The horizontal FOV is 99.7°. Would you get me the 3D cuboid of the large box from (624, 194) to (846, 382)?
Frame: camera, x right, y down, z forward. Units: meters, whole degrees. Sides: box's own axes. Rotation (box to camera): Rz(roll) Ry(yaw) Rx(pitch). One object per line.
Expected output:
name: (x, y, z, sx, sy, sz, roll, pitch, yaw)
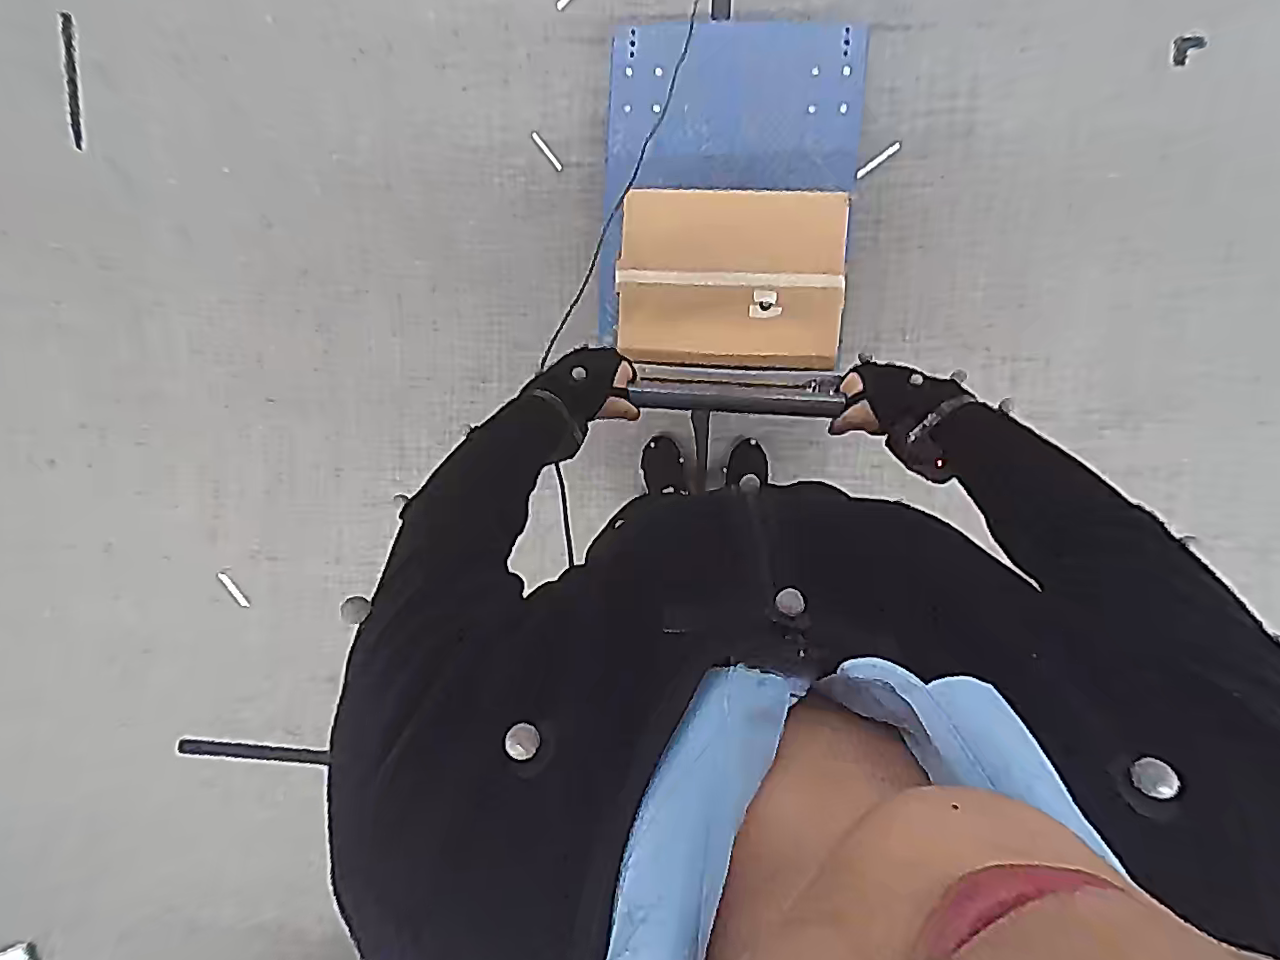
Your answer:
large box: (0.181, -0.382, 1.150, 0.408, 0.320, 0.320, 3, 95, 4)
